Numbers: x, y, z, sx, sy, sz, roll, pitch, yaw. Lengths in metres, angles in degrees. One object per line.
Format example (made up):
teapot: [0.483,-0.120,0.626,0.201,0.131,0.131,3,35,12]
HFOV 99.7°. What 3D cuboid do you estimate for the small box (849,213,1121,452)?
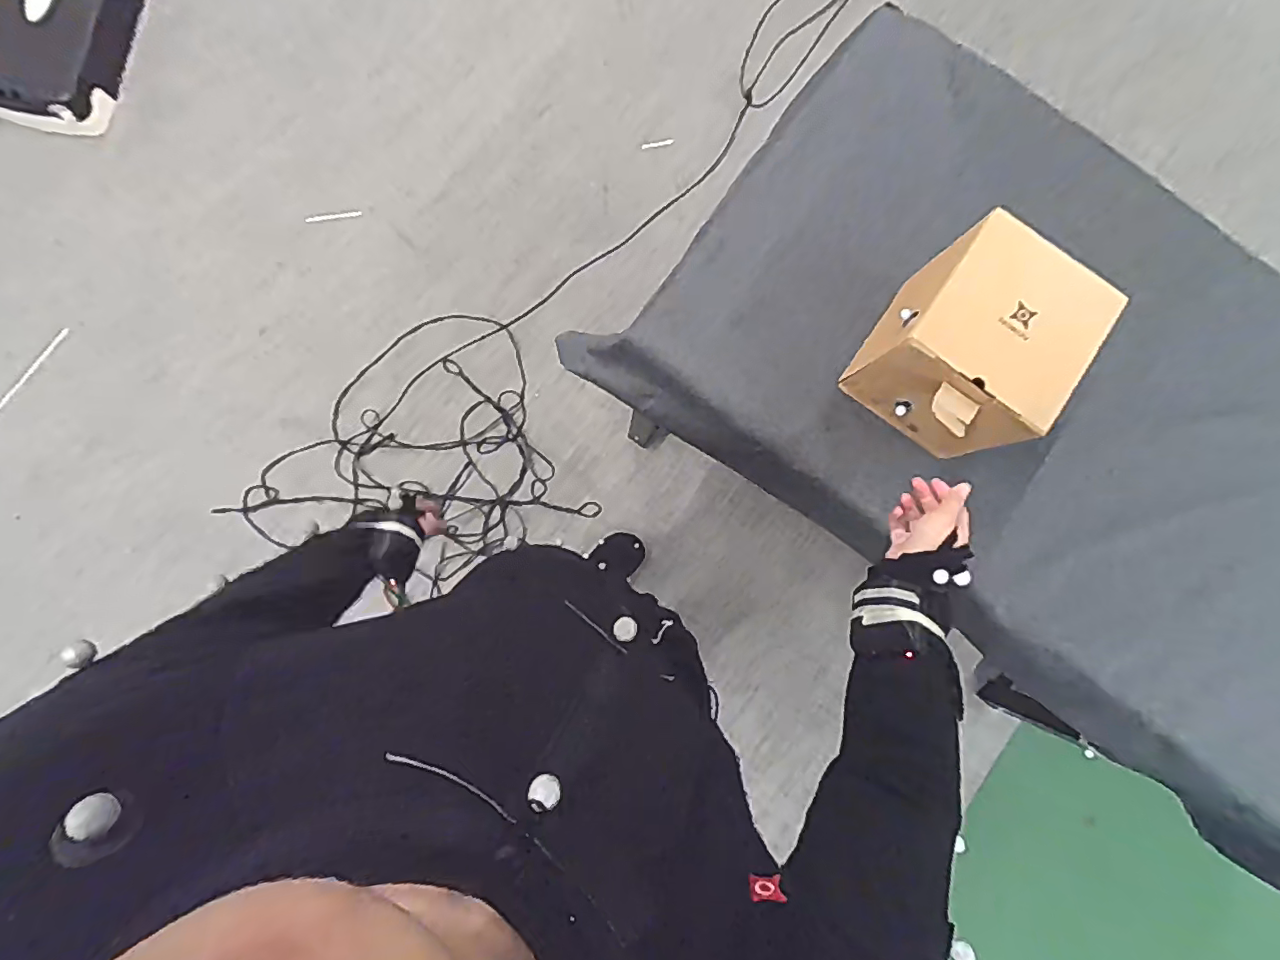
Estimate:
small box: [0.377,-0.153,0.624,0.168,0.176,0.179,35,83,-1]
